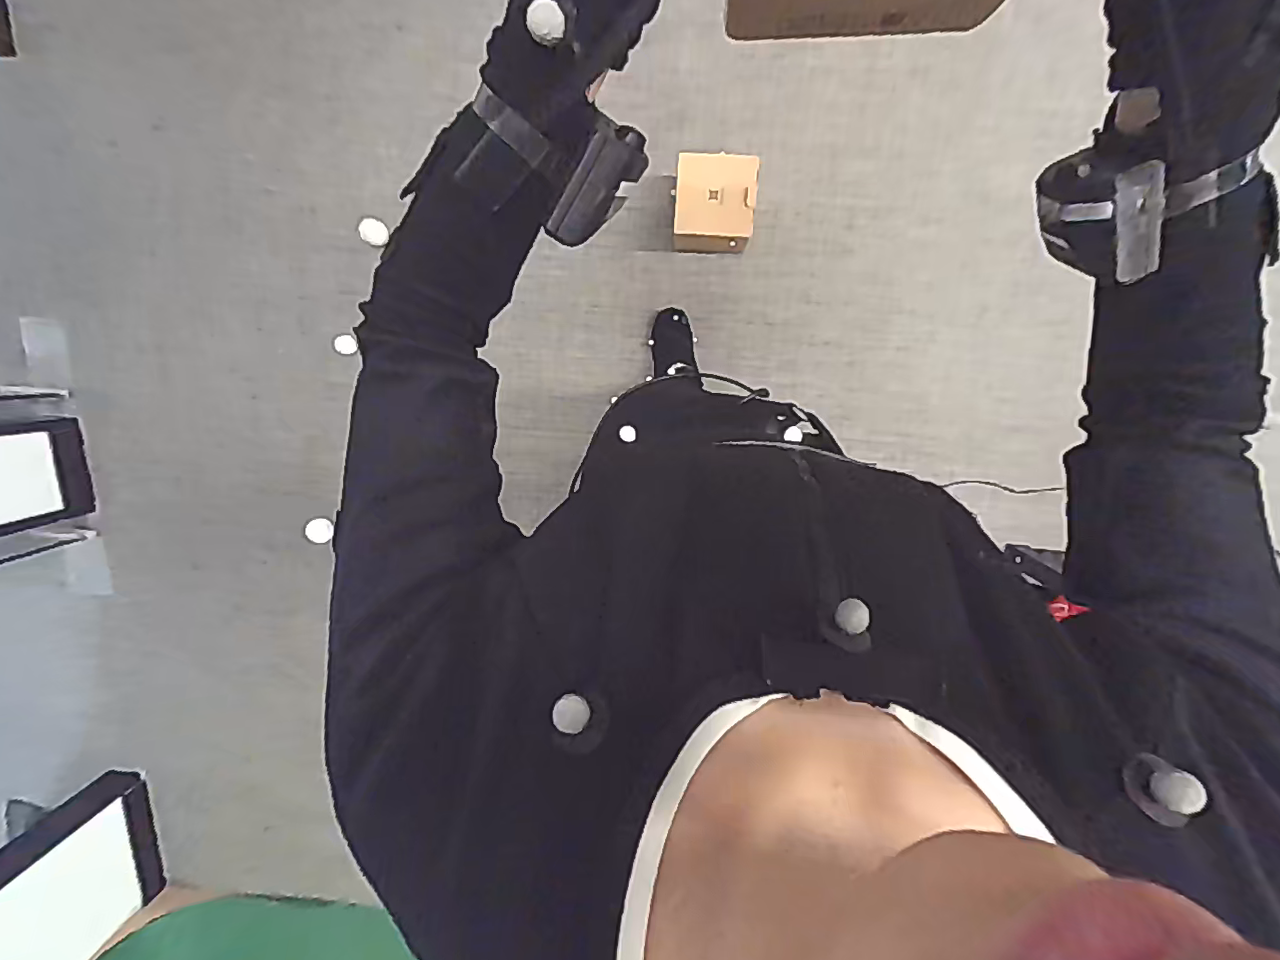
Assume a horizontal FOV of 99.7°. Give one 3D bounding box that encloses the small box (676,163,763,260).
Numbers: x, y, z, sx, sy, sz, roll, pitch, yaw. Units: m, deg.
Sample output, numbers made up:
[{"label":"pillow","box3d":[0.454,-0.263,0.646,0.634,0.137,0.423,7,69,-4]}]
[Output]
[{"label":"small box","box3d":[0.180,-0.618,1.262,0.179,0.176,0.168,5,102,4]}]
